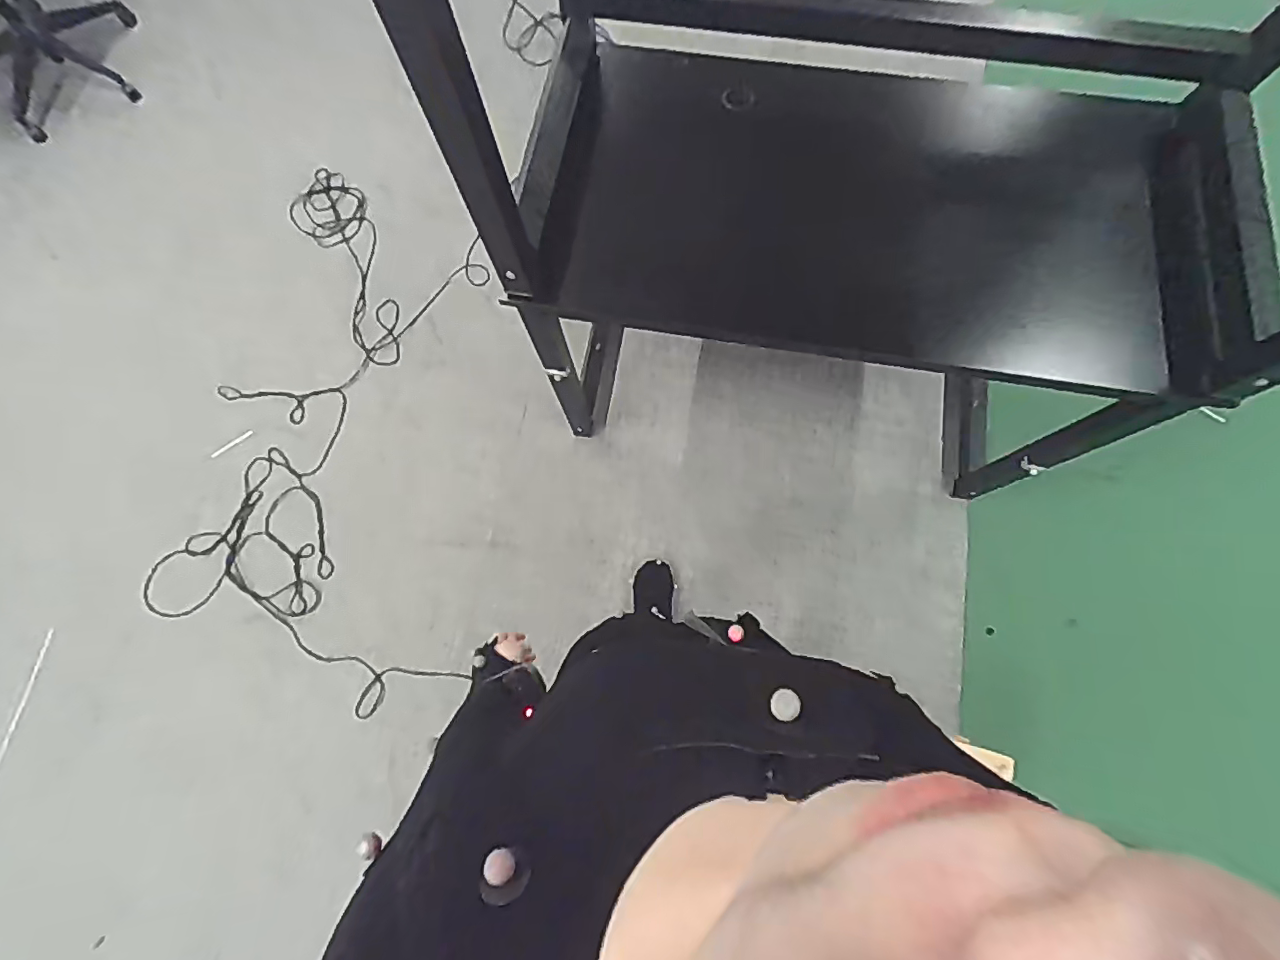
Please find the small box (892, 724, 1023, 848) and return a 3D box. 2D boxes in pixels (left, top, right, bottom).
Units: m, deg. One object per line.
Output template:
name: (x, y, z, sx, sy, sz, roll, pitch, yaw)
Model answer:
small box: (0.657, 0.630, 1.138, 0.179, 0.176, 0.168, 16, 76, 7)
